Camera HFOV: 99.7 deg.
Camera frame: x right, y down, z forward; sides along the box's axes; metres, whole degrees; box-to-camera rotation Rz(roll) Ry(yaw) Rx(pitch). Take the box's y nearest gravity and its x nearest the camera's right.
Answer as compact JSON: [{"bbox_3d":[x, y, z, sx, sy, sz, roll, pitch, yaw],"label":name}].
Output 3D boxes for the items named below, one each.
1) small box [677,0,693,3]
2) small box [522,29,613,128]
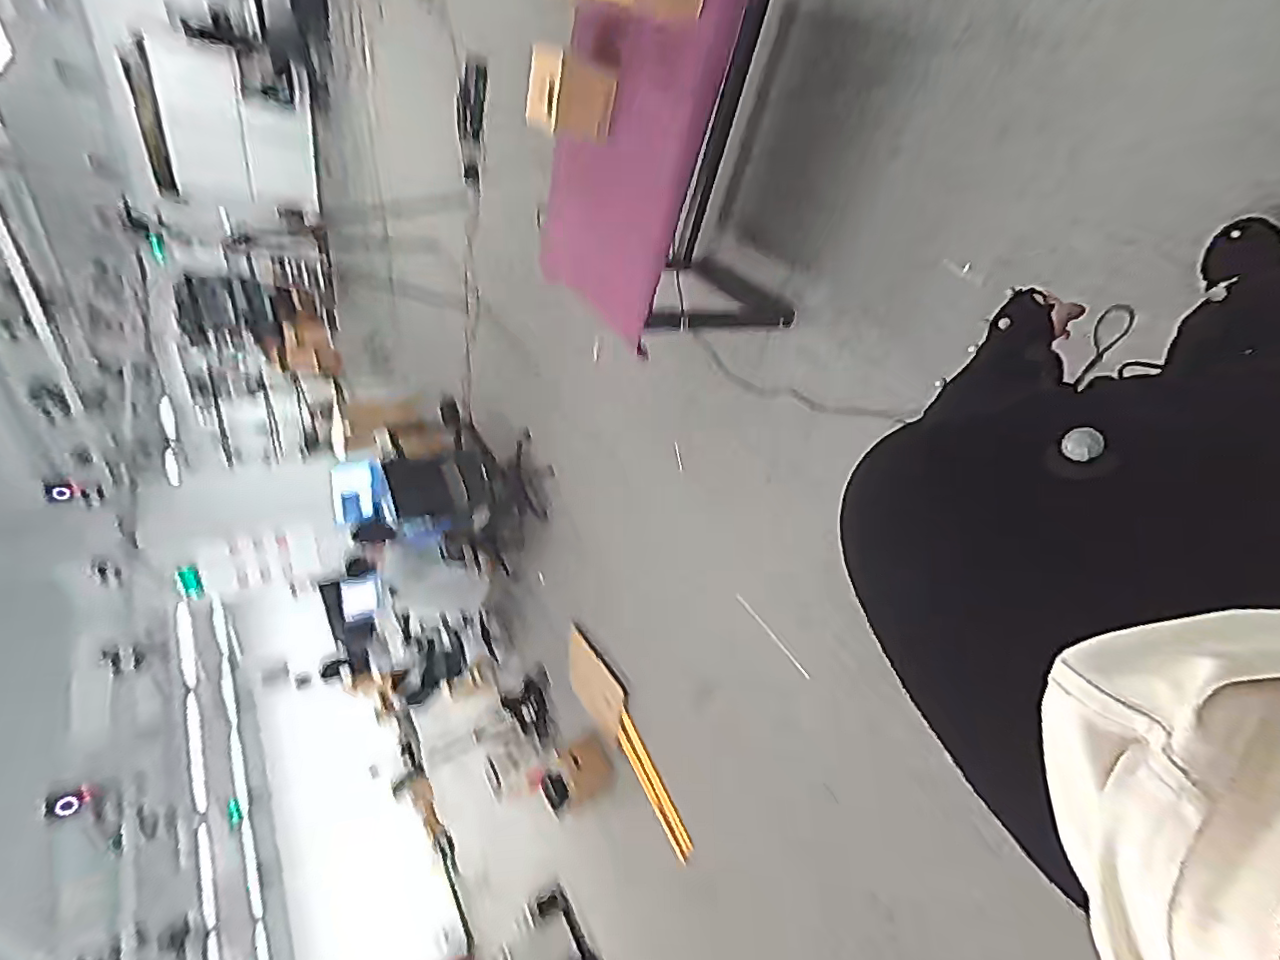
[{"bbox_3d":[0.032,-1.113,1.105,0.179,0.176,0.168,49,136,34],"label":"small box"},{"bbox_3d":[-0.192,-1.055,1.430,0.179,0.176,0.168,49,136,34],"label":"small box"}]
